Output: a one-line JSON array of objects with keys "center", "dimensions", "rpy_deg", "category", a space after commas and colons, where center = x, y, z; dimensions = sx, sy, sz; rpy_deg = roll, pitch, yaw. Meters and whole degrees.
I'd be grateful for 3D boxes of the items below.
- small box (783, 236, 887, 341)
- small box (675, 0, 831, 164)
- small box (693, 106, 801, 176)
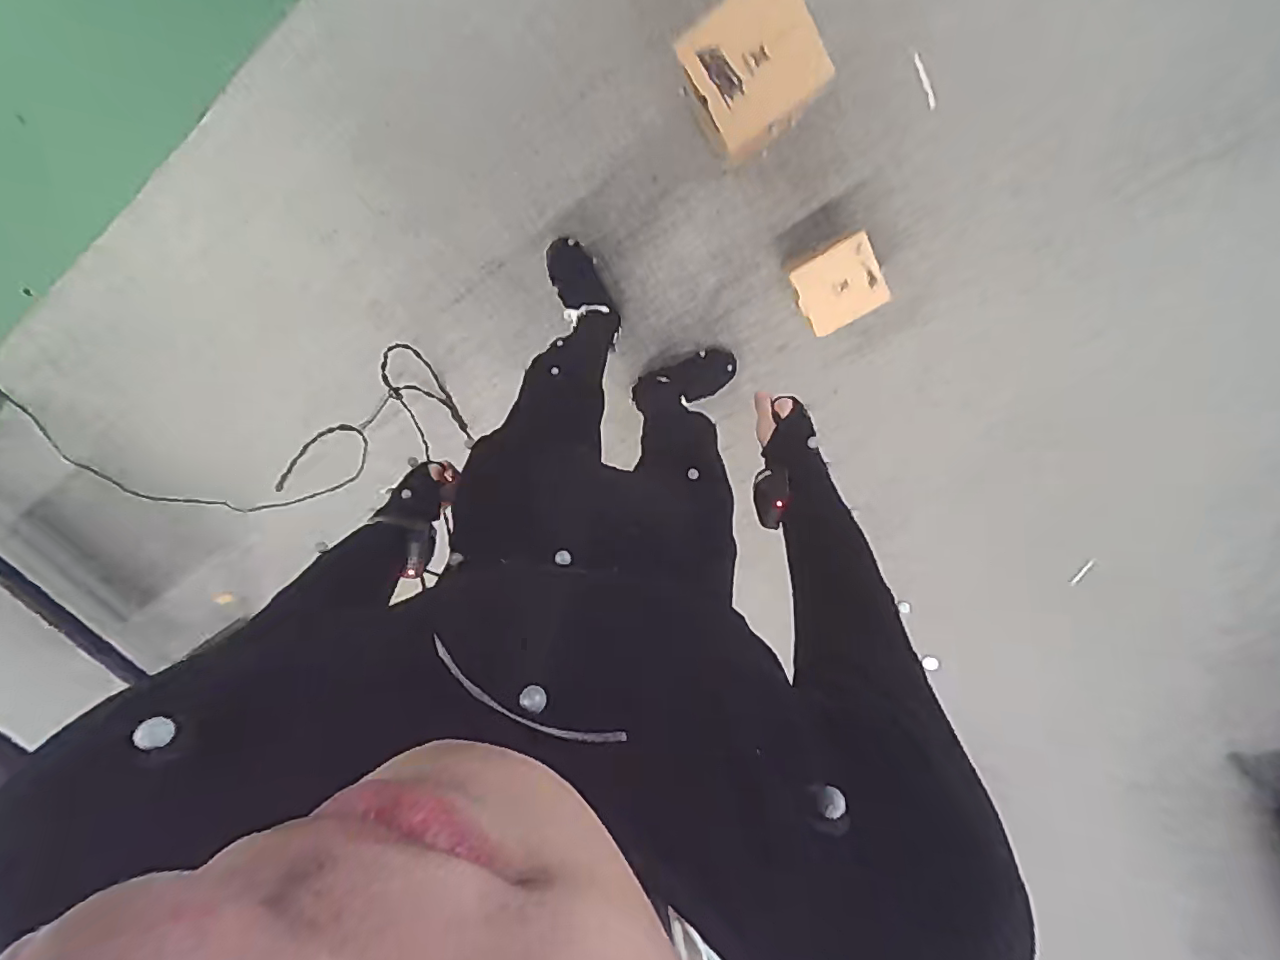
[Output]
[{"center": [0.449, -0.454, 1.276], "dimensions": [0.179, 0.176, 0.168], "rpy_deg": [-26, 110, 18], "category": "small box"}, {"center": [0.174, -0.636, 0.859], "dimensions": [0.179, 0.176, 0.168], "rpy_deg": [-30, 108, 18], "category": "small box"}, {"center": [0.219, -0.779, 1.151], "dimensions": [0.168, 0.176, 0.179], "rpy_deg": [-28, 109, 18], "category": "small box"}]
